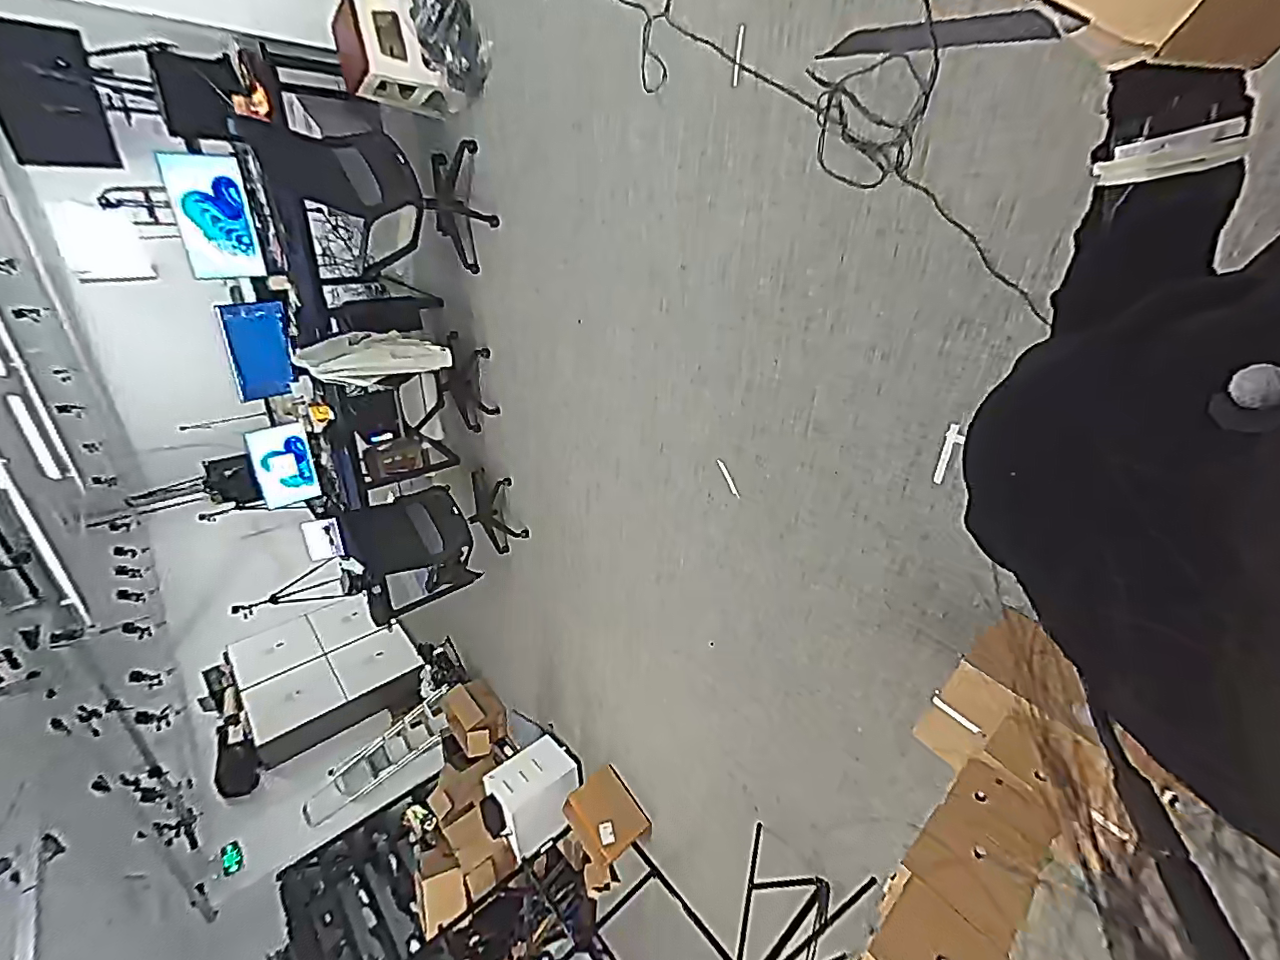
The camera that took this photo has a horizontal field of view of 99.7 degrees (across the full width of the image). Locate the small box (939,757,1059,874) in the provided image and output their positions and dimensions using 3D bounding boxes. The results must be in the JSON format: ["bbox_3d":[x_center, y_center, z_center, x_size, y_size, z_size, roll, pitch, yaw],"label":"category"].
[{"bbox_3d":[0.698,0.699,1.072,0.168,0.176,0.179,24,125,44],"label":"small box"}]

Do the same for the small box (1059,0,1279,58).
[{"bbox_3d":[0.243,-0.301,0.207,0.168,0.176,0.179,55,150,21],"label":"small box"}]

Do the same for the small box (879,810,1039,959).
[{"bbox_3d":[0.572,0.741,0.976,0.179,0.176,0.168,30,129,40],"label":"small box"}]

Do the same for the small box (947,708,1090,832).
[{"bbox_3d":[0.816,0.636,1.165,0.179,0.176,0.168,39,134,34],"label":"small box"}]
